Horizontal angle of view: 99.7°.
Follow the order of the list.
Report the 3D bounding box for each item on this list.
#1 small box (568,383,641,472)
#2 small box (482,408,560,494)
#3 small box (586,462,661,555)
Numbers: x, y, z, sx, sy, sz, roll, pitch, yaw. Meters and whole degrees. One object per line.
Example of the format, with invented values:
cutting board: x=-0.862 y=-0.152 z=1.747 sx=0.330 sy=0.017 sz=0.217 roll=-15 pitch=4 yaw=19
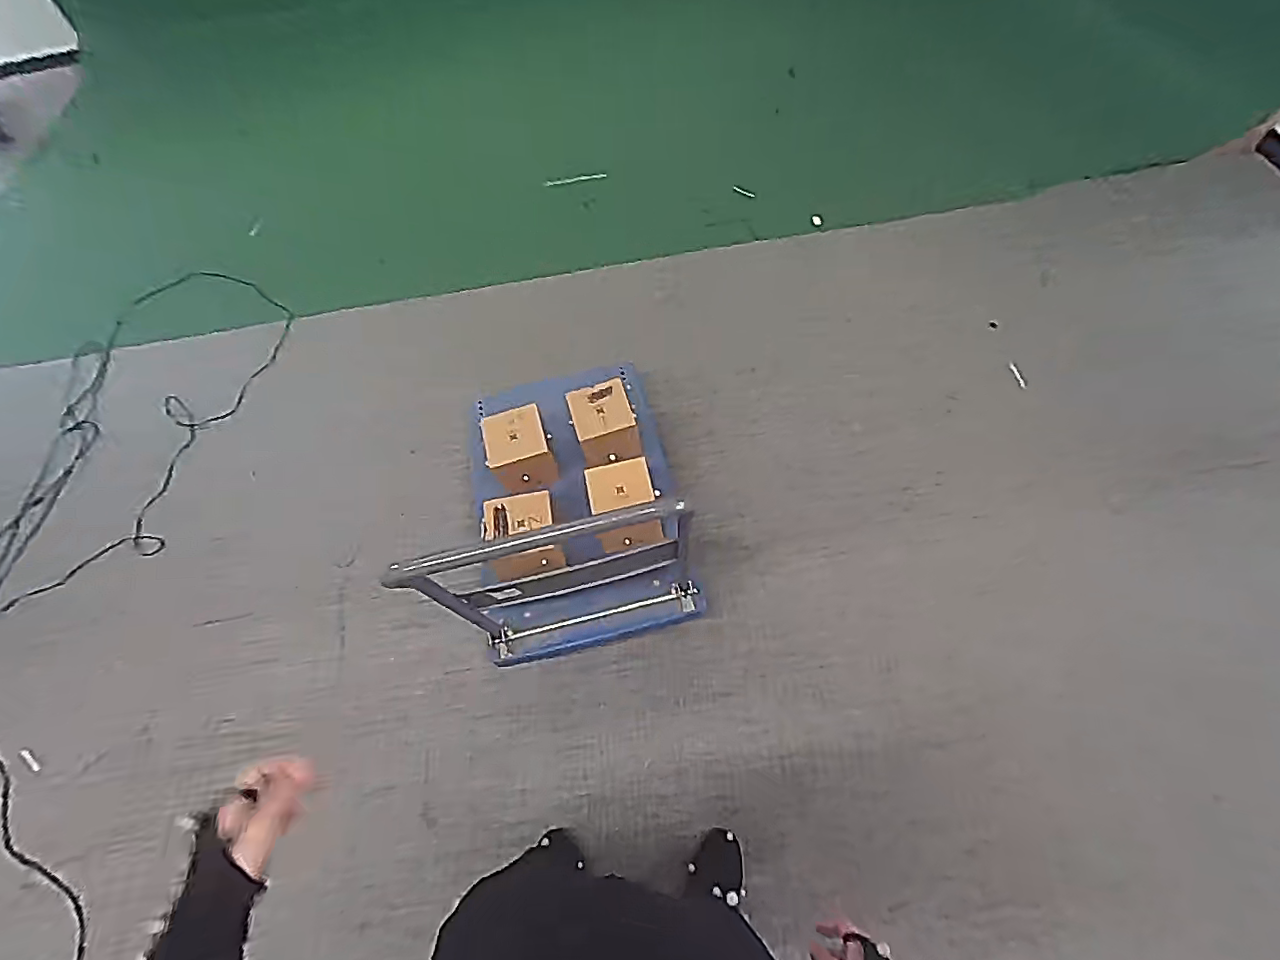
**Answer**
small box: x=-0.101 y=-0.150 z=1.583 sx=0.168 sy=0.176 sz=0.179 roll=-17 pitch=62 yaw=-2
small box: x=-0.341 y=-0.075 z=1.568 sx=0.168 sy=0.176 sz=0.179 roll=-16 pitch=61 yaw=-4
small box: x=-0.041 y=0.079 z=1.452 sx=0.168 sy=0.176 sz=0.179 roll=-13 pitch=61 yaw=-1
